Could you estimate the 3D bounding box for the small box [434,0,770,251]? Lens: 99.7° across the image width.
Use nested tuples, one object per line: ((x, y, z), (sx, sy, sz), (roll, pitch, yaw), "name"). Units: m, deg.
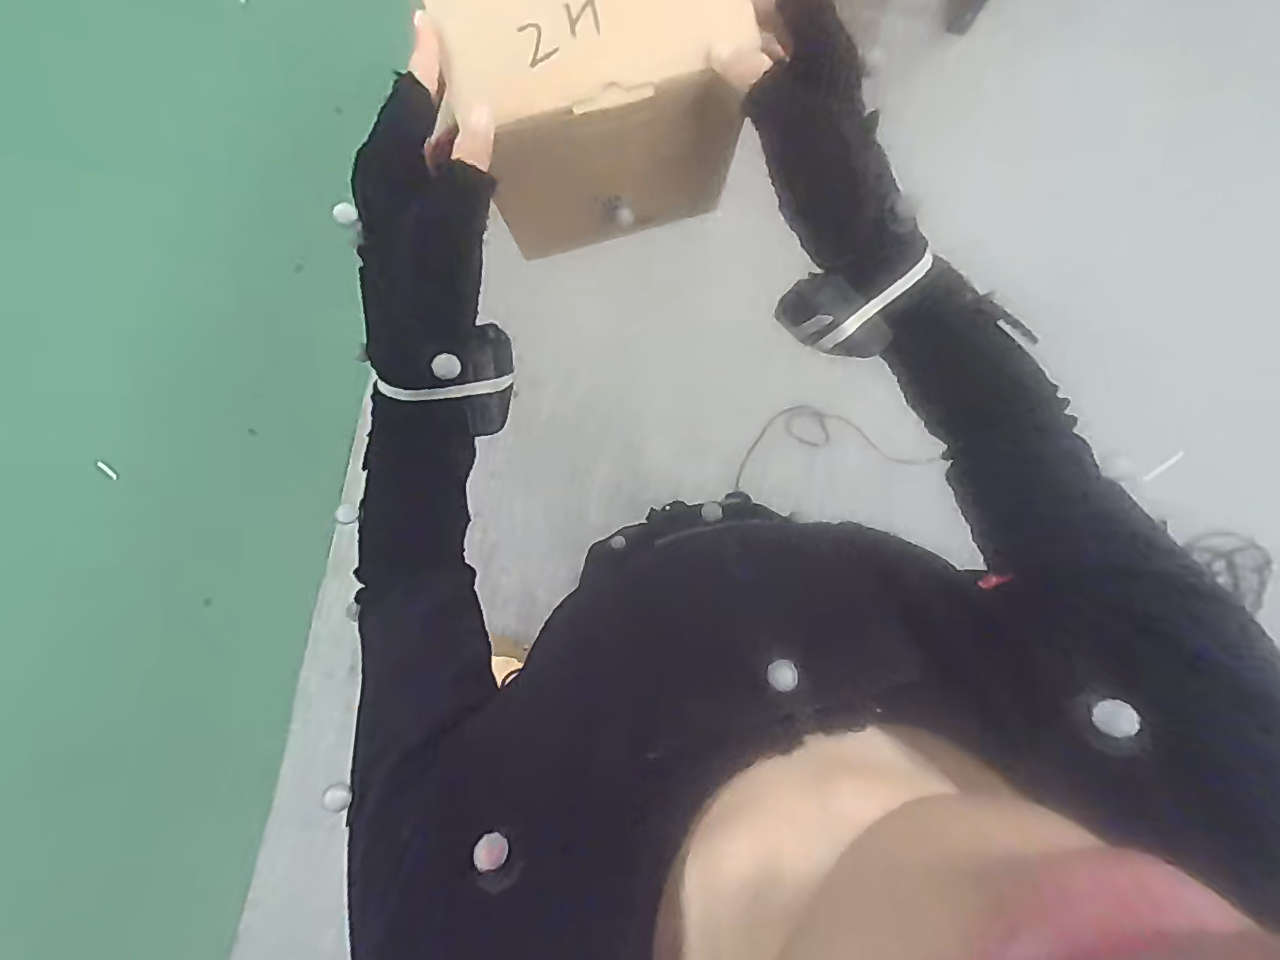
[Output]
((-0.031, -0.284, 0.355), (0.168, 0.176, 0.179), (-14, 90, 1), "small box")
